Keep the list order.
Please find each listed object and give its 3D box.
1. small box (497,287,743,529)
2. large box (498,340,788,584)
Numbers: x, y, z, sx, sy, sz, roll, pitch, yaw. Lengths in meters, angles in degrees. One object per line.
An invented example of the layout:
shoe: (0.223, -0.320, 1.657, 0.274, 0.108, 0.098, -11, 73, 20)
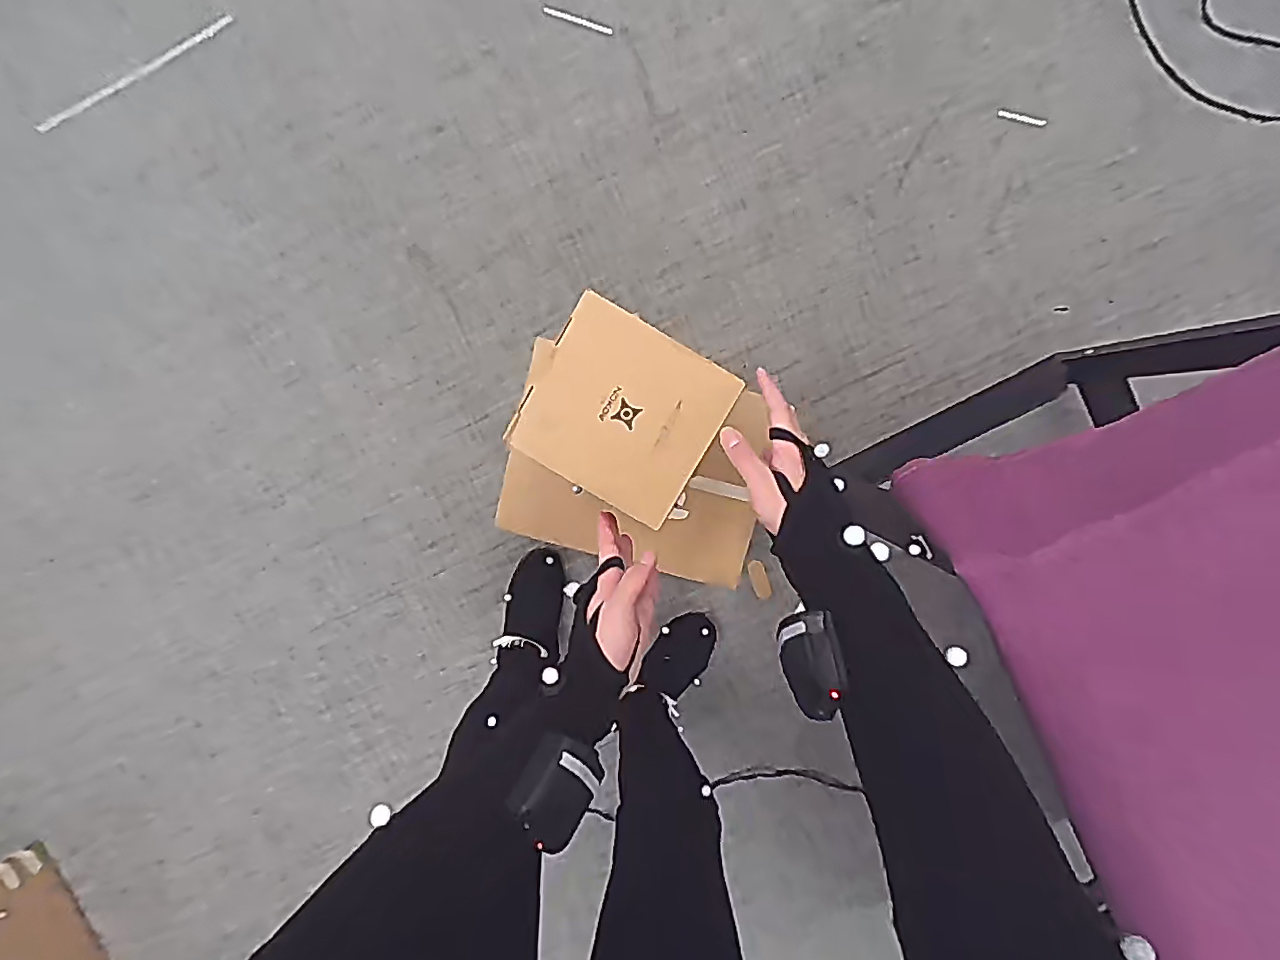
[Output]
small box: (-0.018, -0.070, 0.577, 0.179, 0.176, 0.168, 31, 95, -2)
large box: (0.002, -0.039, 0.987, 0.408, 0.320, 0.320, 14, 97, 0)
